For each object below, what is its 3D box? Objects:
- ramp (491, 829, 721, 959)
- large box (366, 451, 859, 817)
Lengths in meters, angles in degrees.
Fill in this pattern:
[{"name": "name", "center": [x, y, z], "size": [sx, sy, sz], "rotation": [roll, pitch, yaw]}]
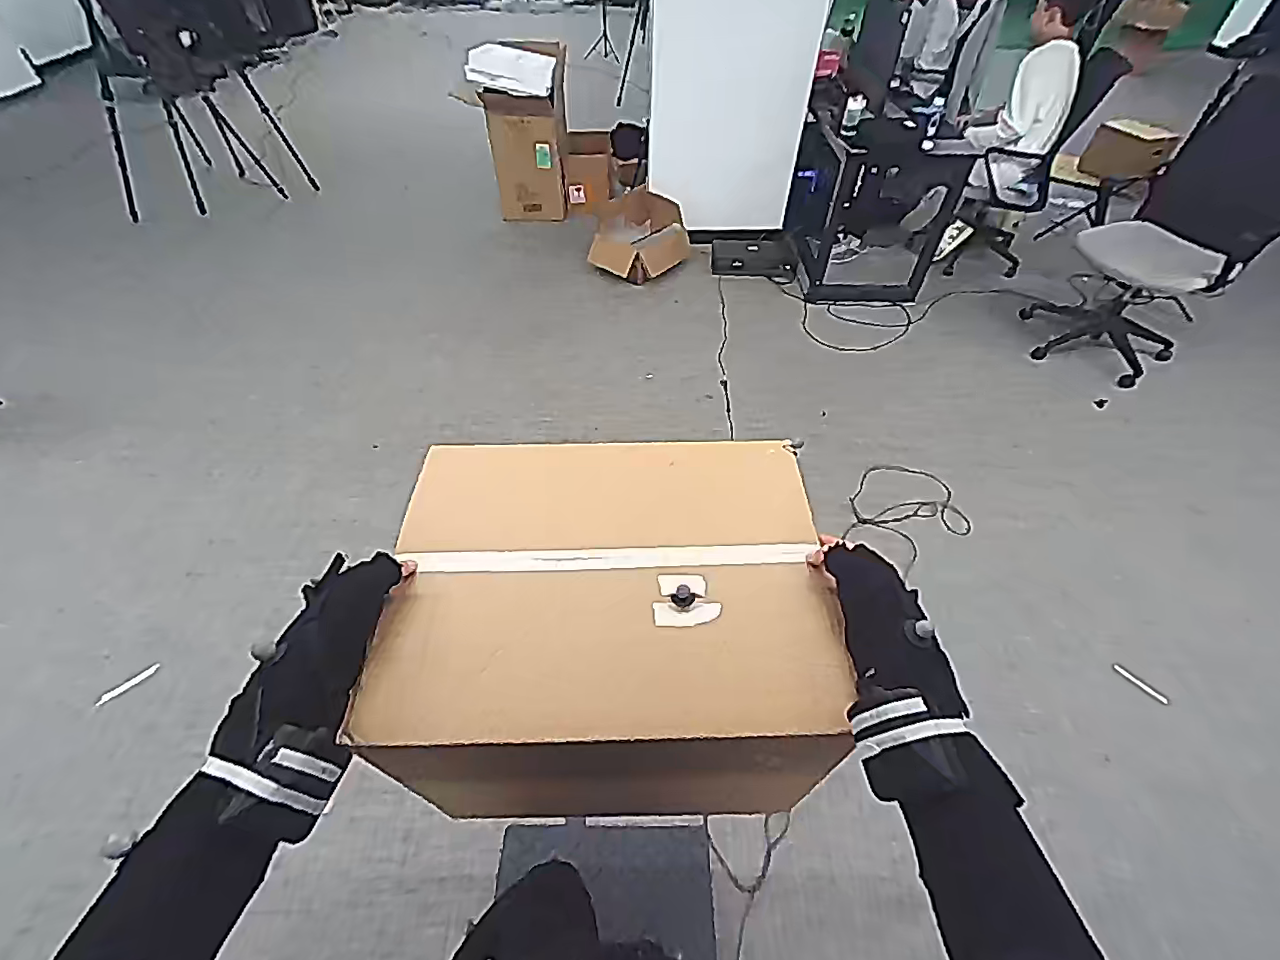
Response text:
[{"name": "ramp", "center": [-0.074, 1.169, 0.938], "size": [0.509, 0.206, 0.991], "rotation": [-2, 48, 0]}, {"name": "large box", "center": [-0.026, 0.183, 0.638], "size": [0.408, 0.320, 0.320], "rotation": [-1, 49, -1]}]
